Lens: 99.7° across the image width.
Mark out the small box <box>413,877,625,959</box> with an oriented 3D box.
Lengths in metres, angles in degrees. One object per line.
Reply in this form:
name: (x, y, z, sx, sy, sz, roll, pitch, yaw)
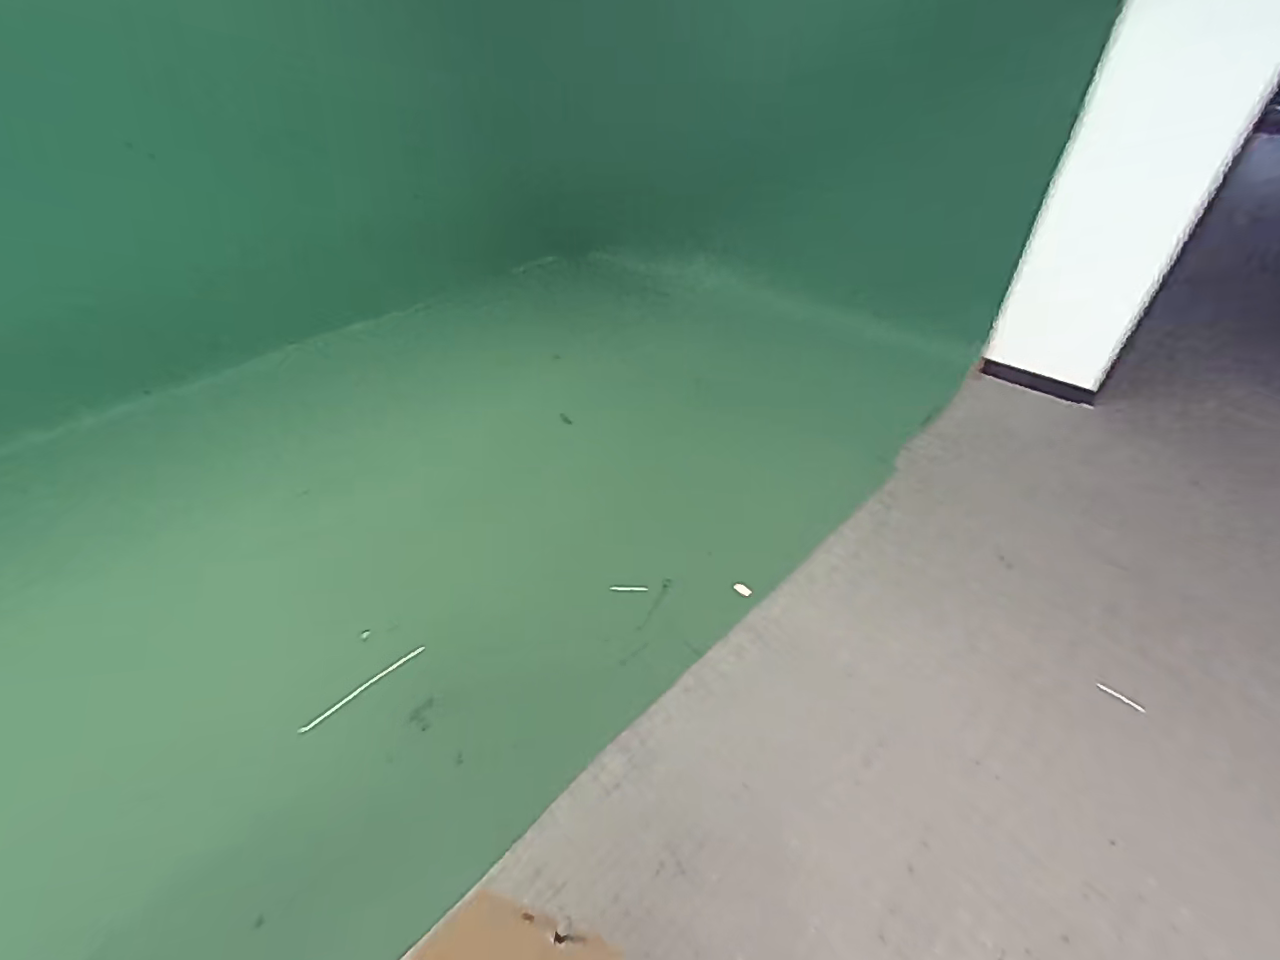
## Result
small box: (-0.119, 0.494, 0.468, 0.168, 0.176, 0.179, 16, 72, 11)
